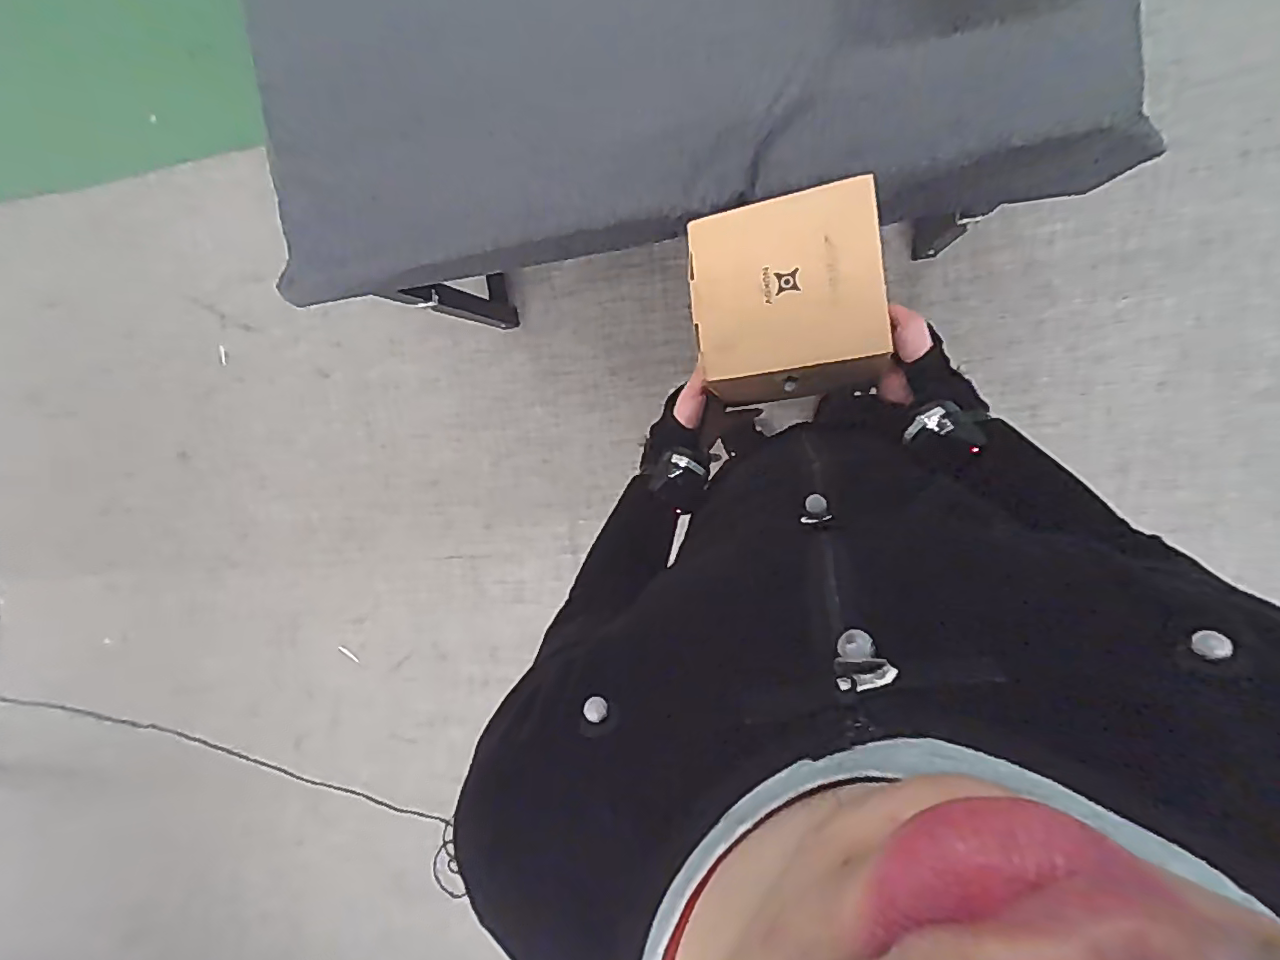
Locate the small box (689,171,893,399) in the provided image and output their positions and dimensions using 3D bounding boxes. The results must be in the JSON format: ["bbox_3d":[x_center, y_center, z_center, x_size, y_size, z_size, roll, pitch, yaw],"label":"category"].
[{"bbox_3d":[0.162,-0.189,0.585,0.179,0.176,0.168,-6,88,18],"label":"small box"}]
